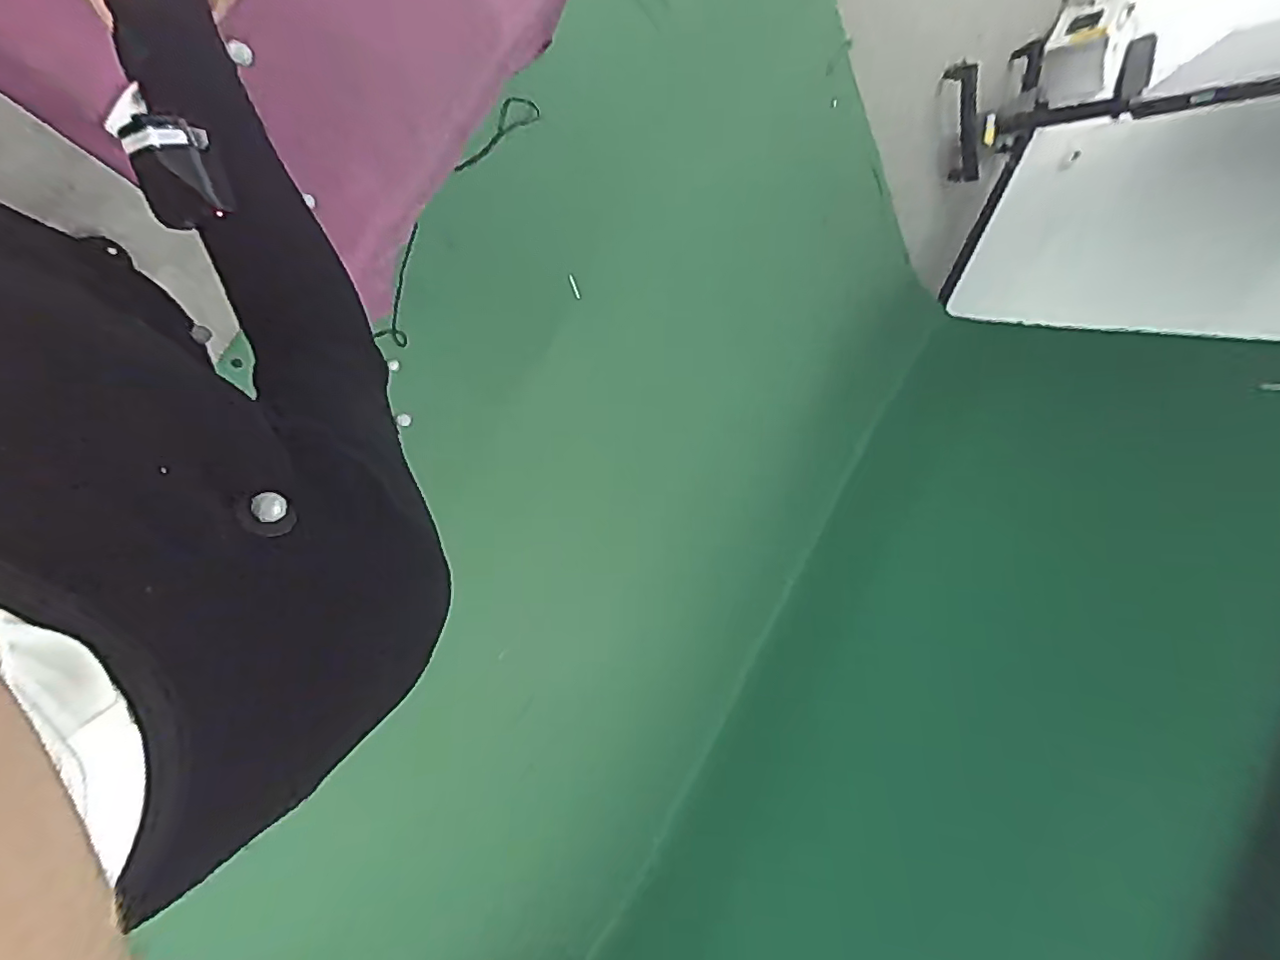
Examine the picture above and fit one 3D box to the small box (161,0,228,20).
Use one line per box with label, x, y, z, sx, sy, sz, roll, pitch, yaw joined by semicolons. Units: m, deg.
small box;-0.462;-0.592;0.515;0.179;0.176;0.168;35;82;-45
